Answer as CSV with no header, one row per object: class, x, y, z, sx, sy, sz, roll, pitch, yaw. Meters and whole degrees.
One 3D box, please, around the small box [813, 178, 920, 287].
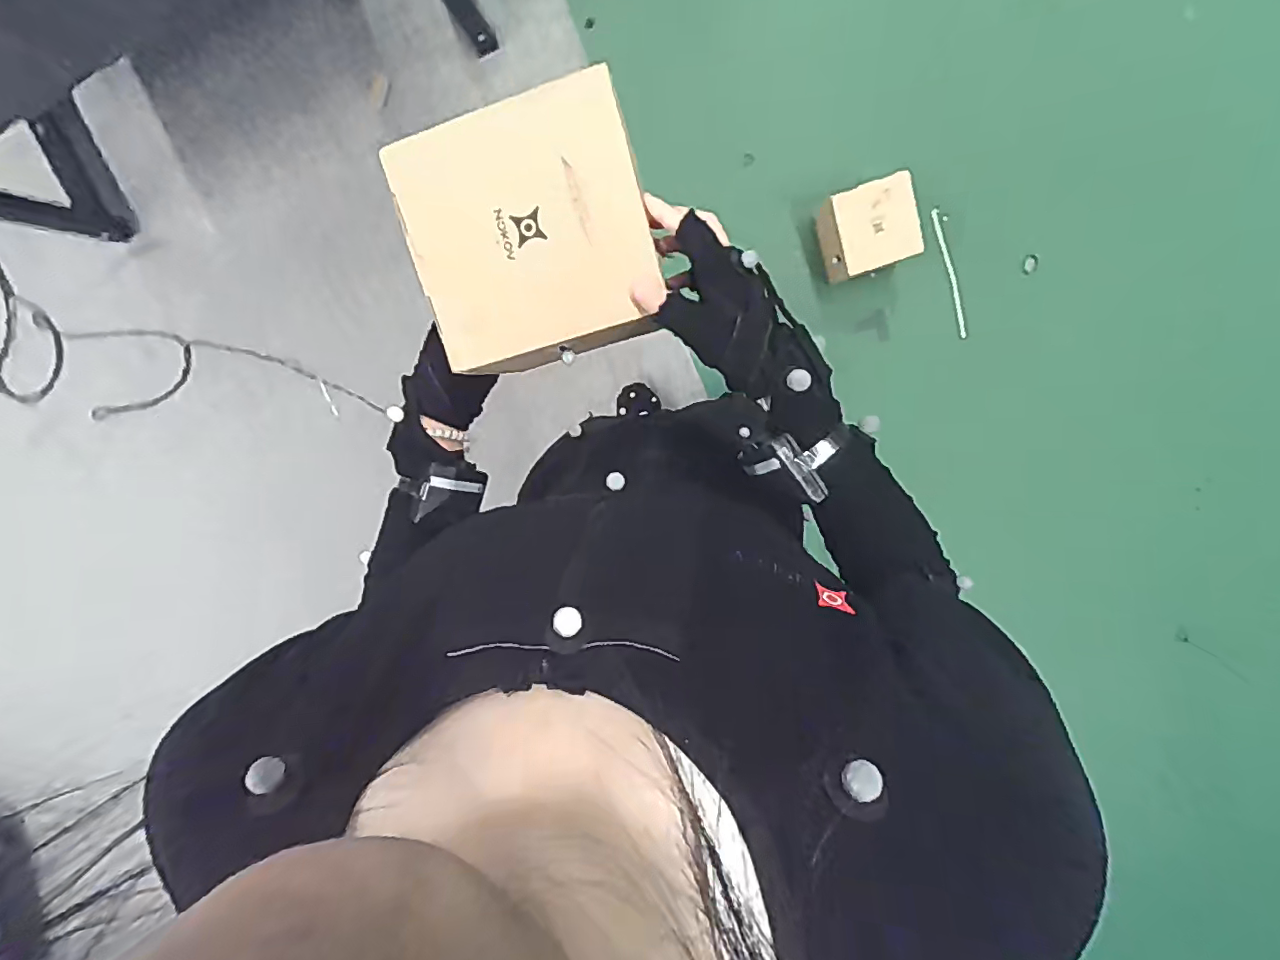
small box,0.517,-0.559,1.253,0.168,0.176,0.179,-16,100,7
